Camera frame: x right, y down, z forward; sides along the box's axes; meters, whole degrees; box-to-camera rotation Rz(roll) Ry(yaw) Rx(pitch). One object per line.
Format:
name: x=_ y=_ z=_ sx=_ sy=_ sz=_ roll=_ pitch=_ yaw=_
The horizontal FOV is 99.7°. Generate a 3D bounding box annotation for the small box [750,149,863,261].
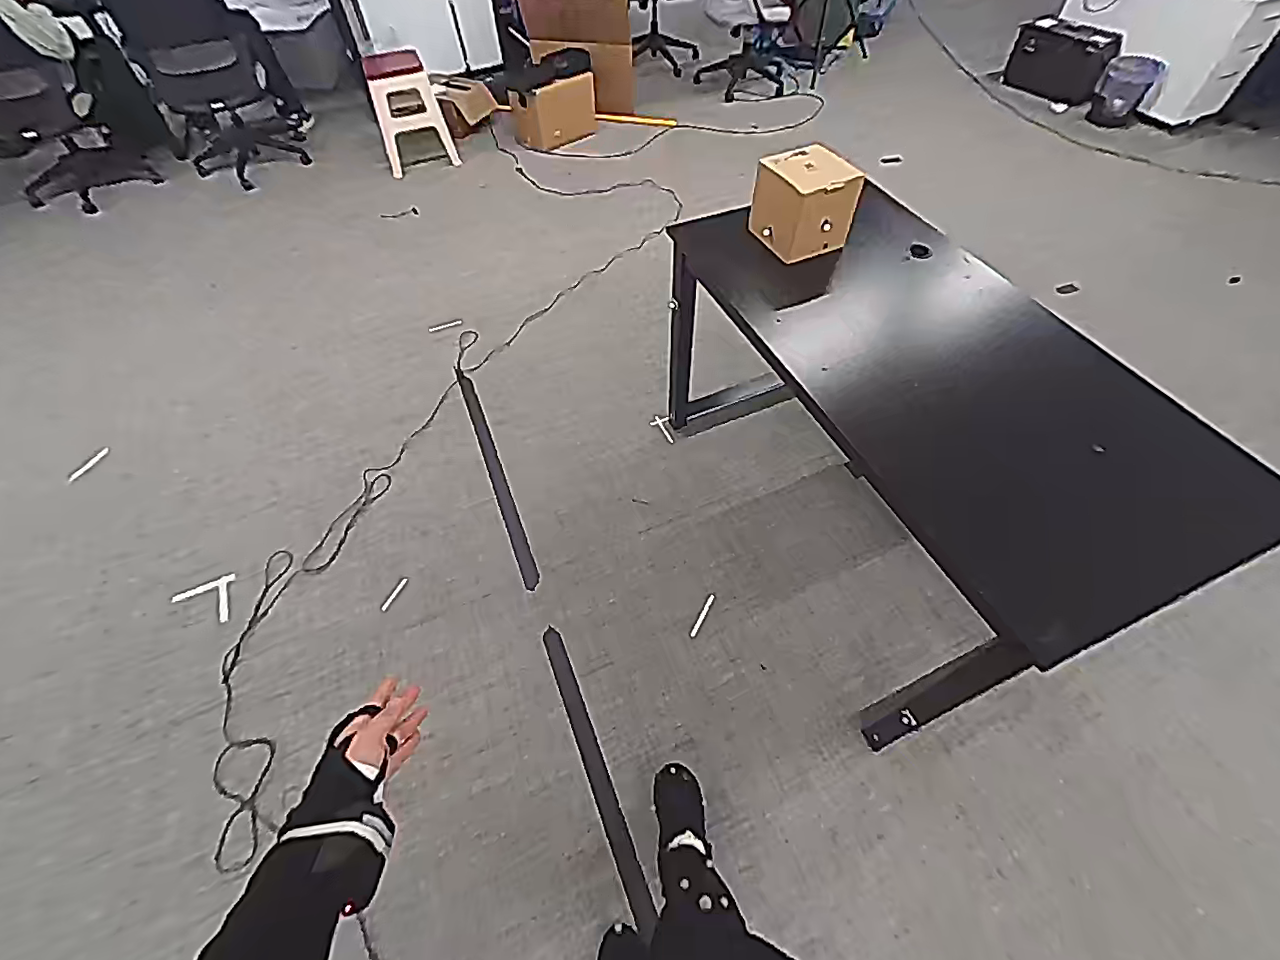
small box: x=0.380 y=-0.636 z=1.268 sx=0.168 sy=0.176 sz=0.179 roll=-22 pitch=58 yaw=-14
